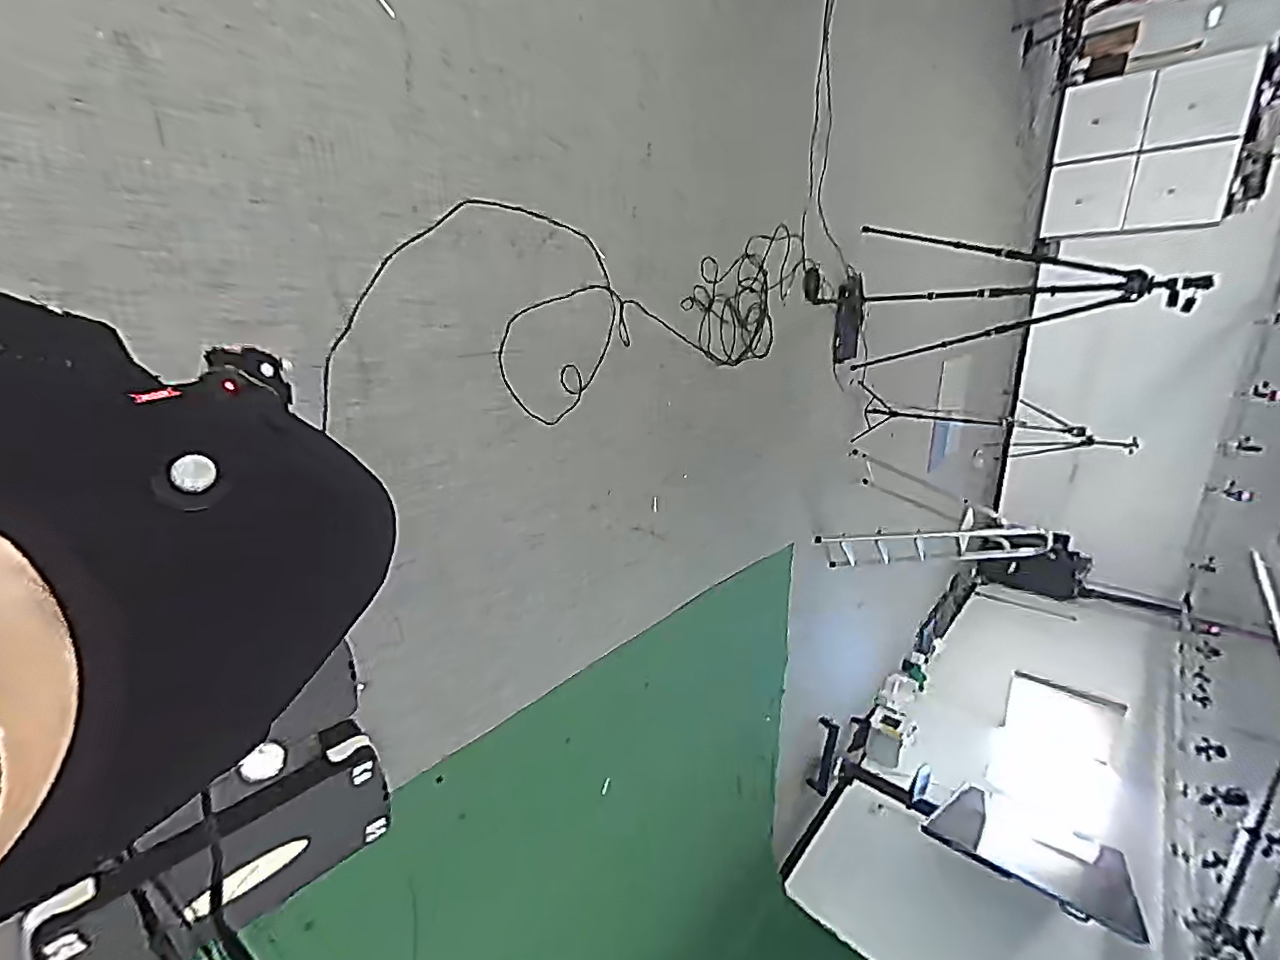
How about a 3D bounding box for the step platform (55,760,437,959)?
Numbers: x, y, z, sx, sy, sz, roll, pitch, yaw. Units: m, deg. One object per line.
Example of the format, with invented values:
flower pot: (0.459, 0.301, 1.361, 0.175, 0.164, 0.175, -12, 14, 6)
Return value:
step platform: (-0.827, 0.960, 1.216, 0.684, 0.204, 0.286, -20, 115, -46)
